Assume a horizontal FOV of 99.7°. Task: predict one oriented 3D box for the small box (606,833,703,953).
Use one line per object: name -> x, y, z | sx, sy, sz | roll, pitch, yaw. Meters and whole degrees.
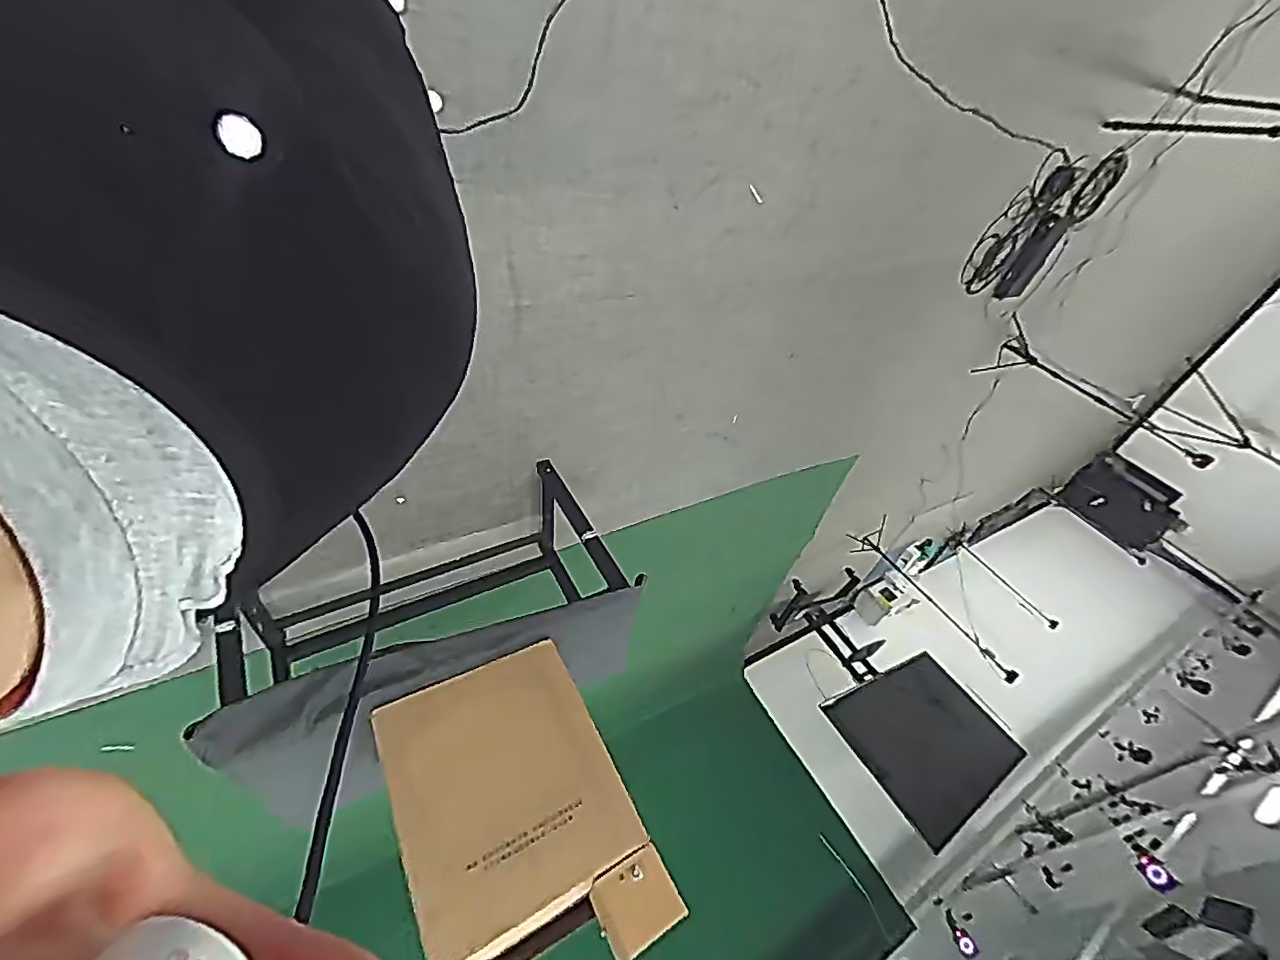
small box -> 0.028, 1.025, 1.350 | 0.168, 0.176, 0.179 | -21, 141, -28
